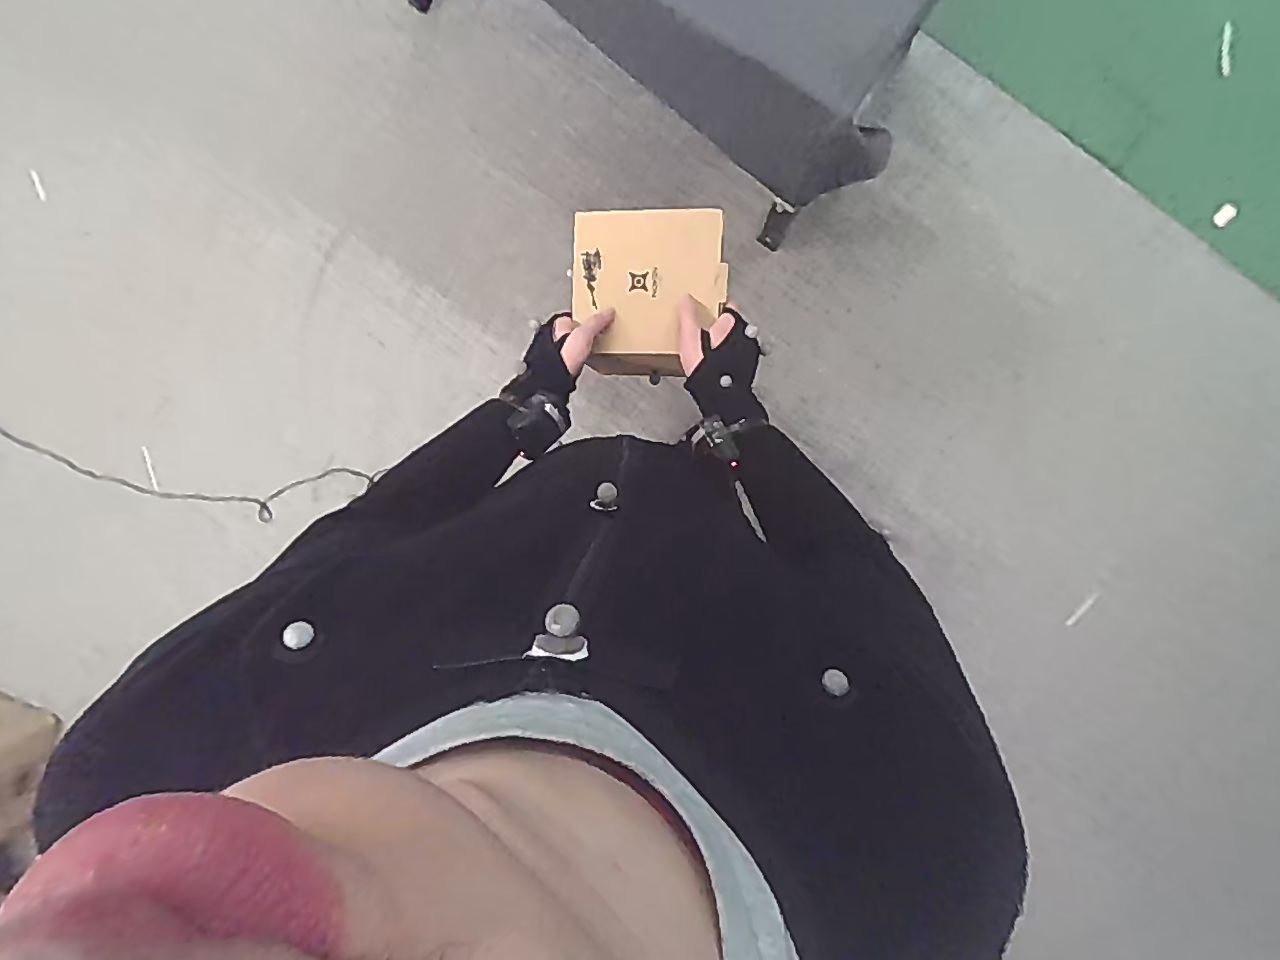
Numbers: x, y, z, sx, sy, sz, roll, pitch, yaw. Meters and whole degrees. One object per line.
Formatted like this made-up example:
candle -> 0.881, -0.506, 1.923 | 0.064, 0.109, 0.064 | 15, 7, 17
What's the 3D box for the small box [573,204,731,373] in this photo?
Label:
small box -> 0.018, -0.233, 0.694 | 0.179, 0.176, 0.168 | 2, 93, 5
